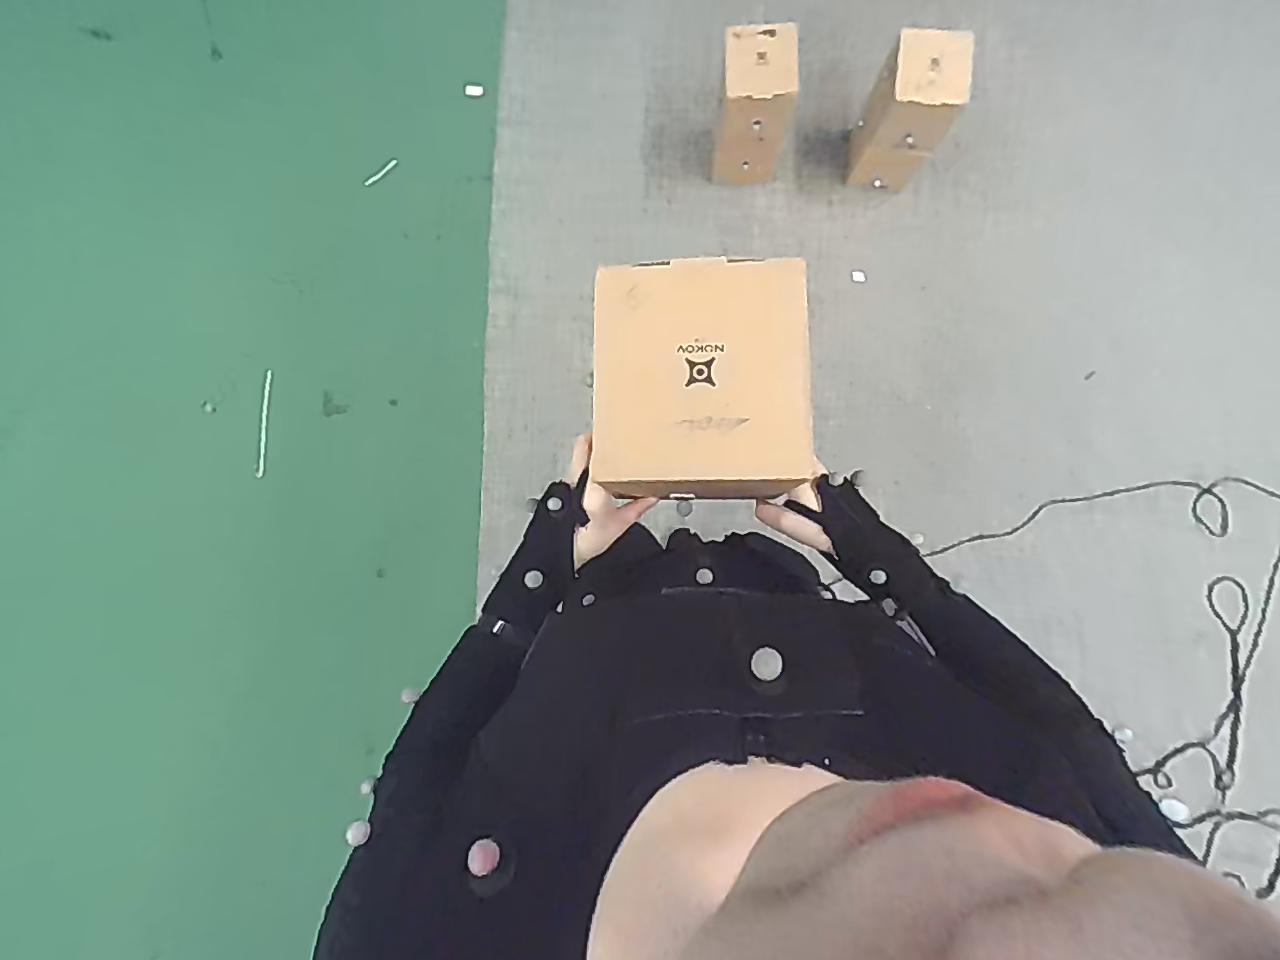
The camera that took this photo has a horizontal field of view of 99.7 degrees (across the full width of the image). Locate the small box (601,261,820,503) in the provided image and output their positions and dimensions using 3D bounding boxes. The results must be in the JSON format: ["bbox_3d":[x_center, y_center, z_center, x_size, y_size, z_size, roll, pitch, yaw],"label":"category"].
[{"bbox_3d":[0.058,-0.075,0.492,0.168,0.176,0.179,0,83,4],"label":"small box"}]

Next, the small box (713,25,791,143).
[{"bbox_3d":[0.270,-0.954,1.322,0.168,0.176,0.179,-1,87,3],"label":"small box"}]

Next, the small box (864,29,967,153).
[{"bbox_3d":[0.655,-0.931,1.303,0.168,0.176,0.179,6,87,3],"label":"small box"}]

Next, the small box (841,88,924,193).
[{"bbox_3d":[0.659,-0.918,1.468,0.168,0.176,0.179,8,88,3],"label":"small box"}]
